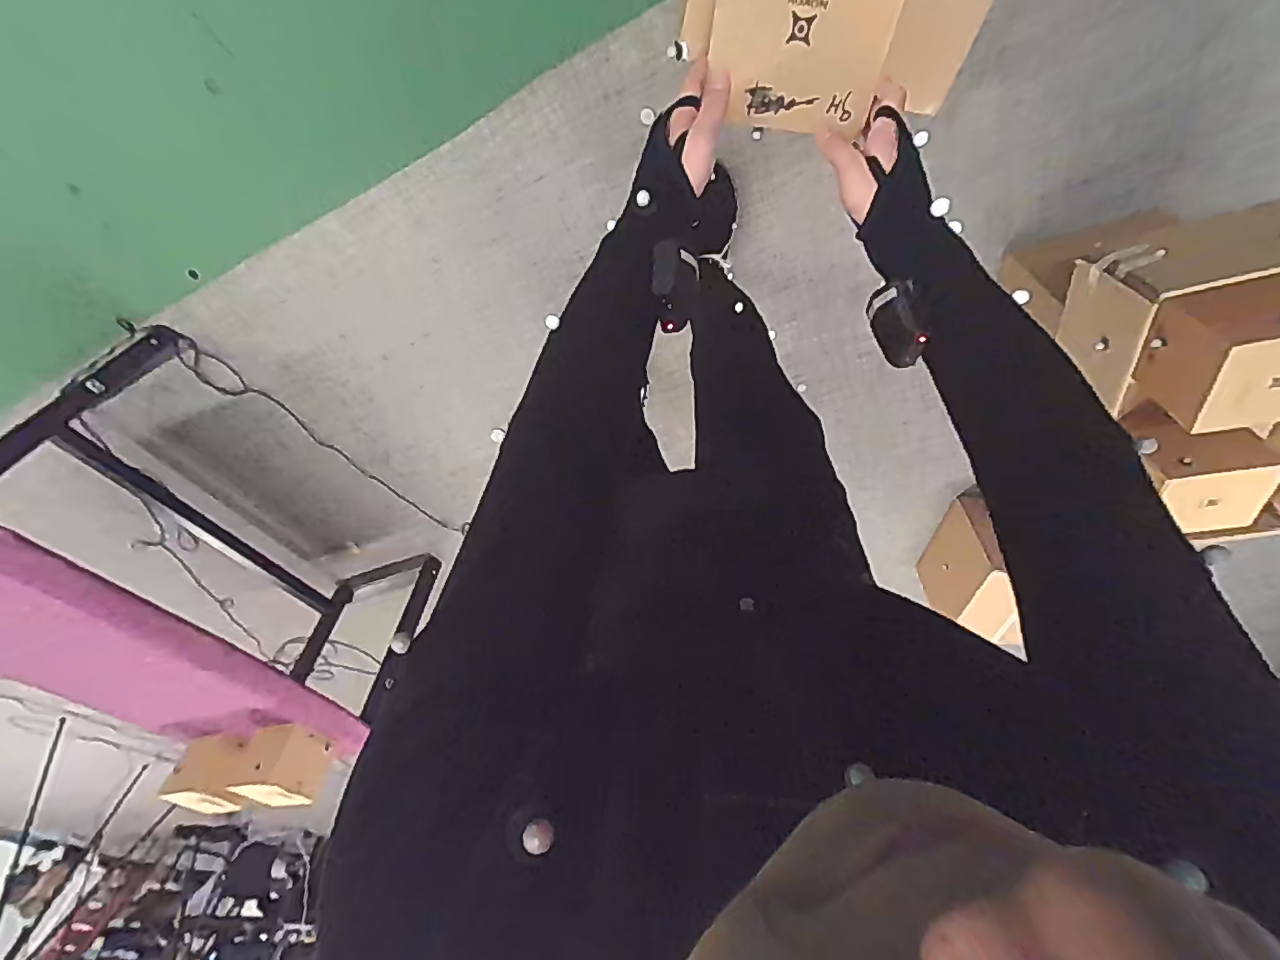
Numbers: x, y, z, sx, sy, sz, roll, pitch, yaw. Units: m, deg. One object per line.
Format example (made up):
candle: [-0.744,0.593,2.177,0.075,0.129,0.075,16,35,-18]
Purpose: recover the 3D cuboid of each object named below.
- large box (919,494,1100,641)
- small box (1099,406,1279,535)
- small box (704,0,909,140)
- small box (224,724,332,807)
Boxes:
large box: [1.192,0.294,1.807,0.320,0.320,0.408,1,133,3]
small box: [1.030,-0.020,1.022,0.179,0.176,0.168,-9,133,15]
small box: [0.157,-0.464,0.541,0.168,0.176,0.179,8,130,0]
small box: [-1.026,0.820,1.556,0.179,0.176,0.168,-16,130,20]
